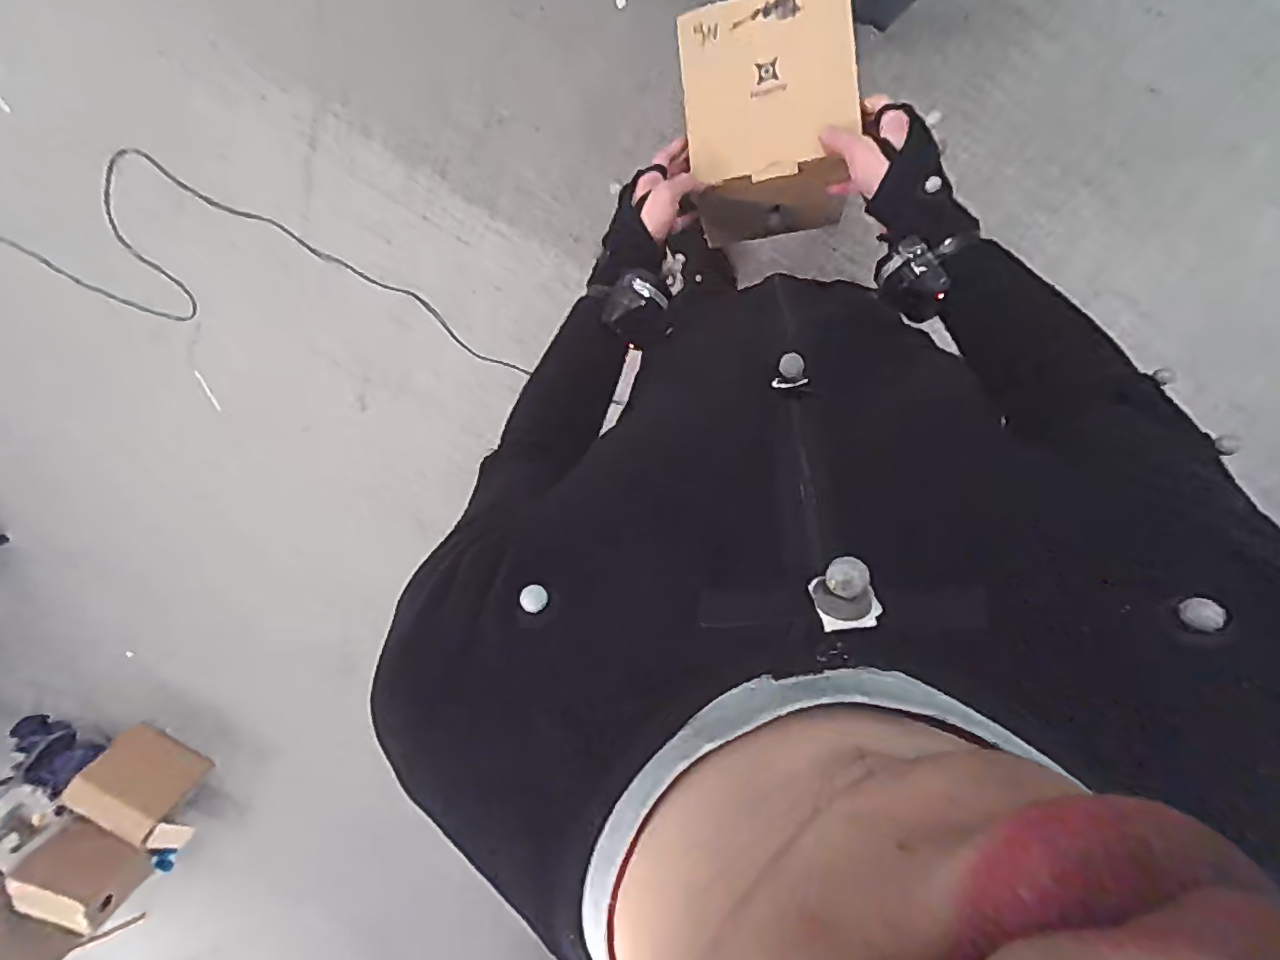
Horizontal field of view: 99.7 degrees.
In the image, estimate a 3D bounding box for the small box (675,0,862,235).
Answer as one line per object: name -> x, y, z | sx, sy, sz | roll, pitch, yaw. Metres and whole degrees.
small box -> 0.139, -0.387, 0.587 | 0.168, 0.176, 0.179 | -5, 92, 14
